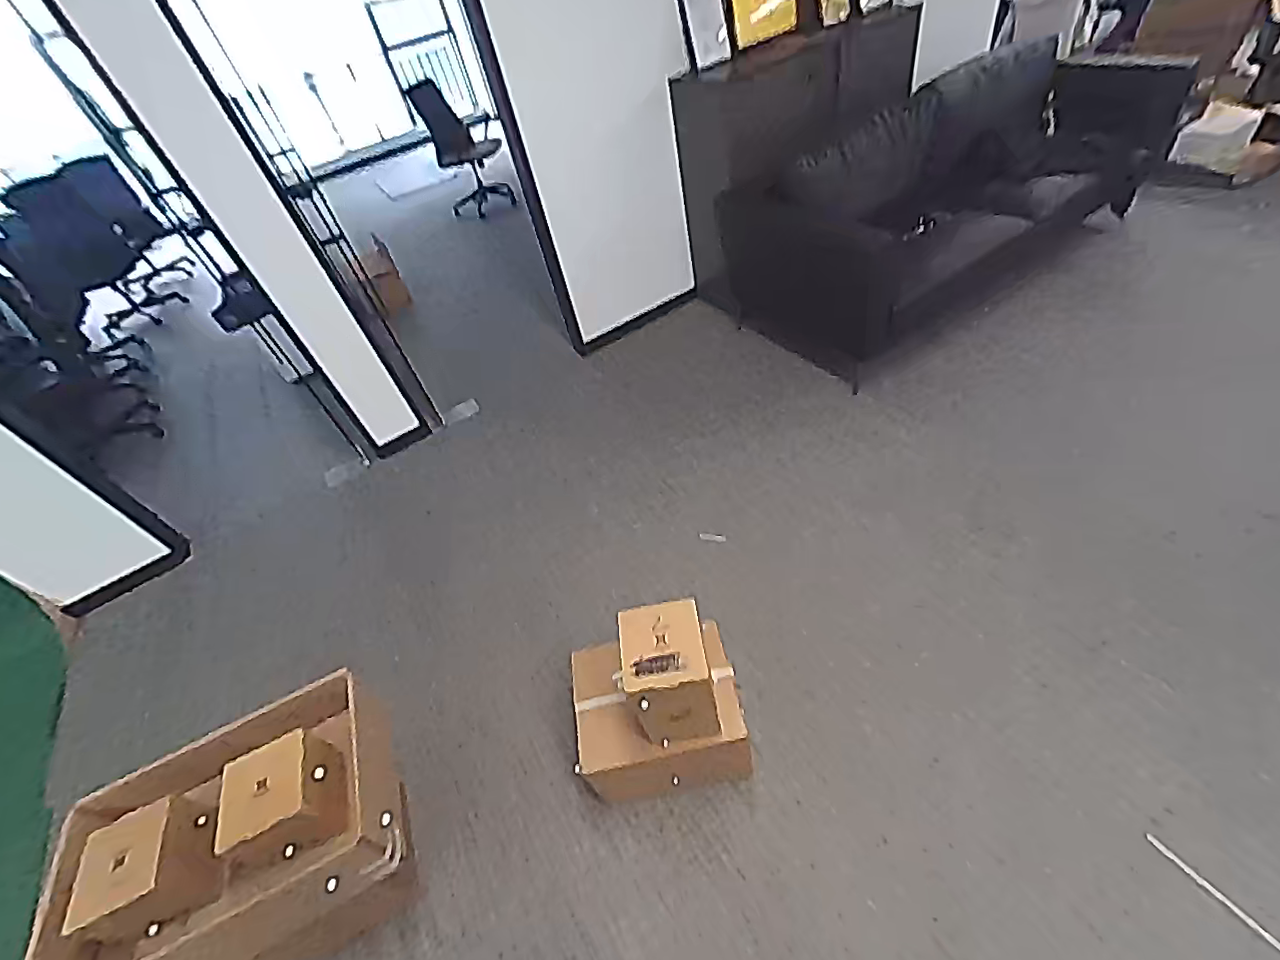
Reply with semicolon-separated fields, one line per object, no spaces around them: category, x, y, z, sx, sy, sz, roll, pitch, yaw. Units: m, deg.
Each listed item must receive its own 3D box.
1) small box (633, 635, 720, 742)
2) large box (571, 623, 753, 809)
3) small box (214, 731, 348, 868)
small box;0.085;0.487;1.246;0.168;0.176;0.179;-11;46;4
large box;0.059;0.638;1.453;0.408;0.320;0.320;-15;44;1
small box;-0.738;0.669;1.129;0.168;0.176;0.179;-25;47;-10
